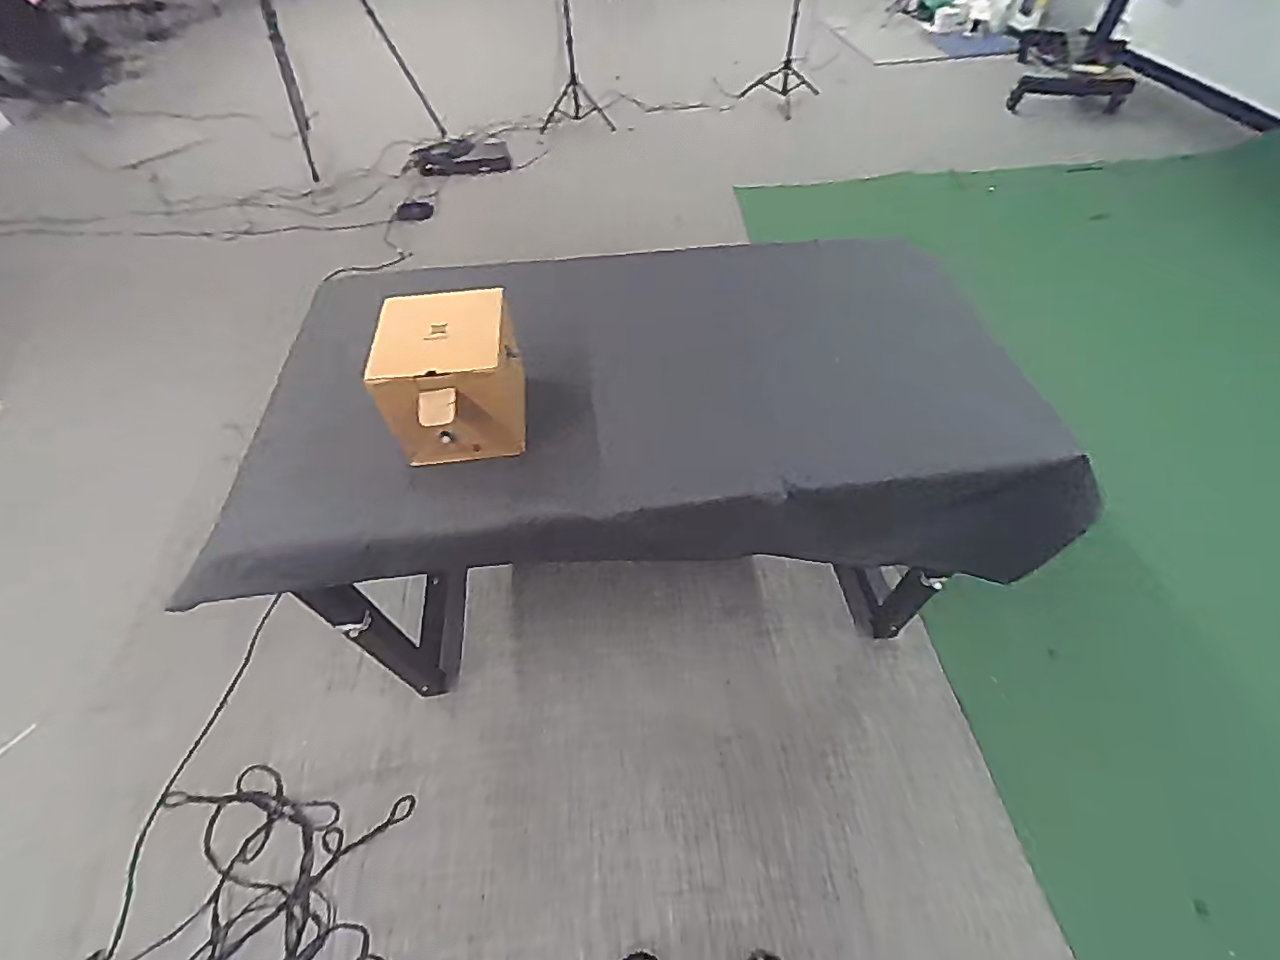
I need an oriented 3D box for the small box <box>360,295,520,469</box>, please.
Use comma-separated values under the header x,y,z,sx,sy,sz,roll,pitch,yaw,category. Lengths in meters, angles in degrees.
x,y,z,sx,sy,sz,roll,pitch,yaw,category
-0.271,-0.139,0.776,0.168,0.176,0.179,-7,53,-4,small box
